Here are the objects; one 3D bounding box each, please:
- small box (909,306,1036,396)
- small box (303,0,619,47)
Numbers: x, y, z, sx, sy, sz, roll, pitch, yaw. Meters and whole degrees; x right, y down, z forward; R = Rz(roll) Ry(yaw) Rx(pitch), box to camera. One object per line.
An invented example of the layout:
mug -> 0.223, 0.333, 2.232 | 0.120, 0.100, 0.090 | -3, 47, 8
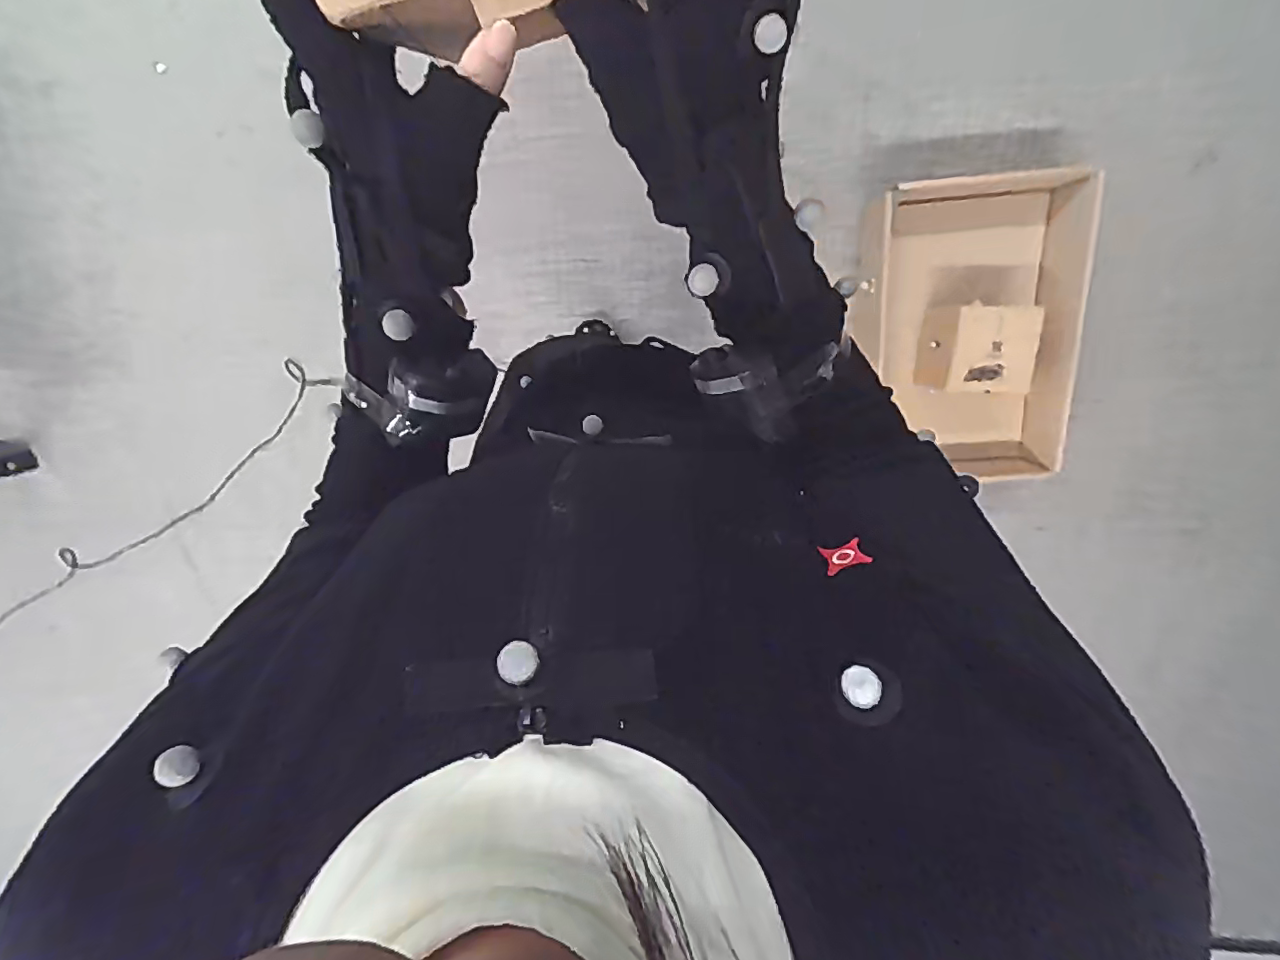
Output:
small box -> 0.722, -0.288, 1.198 | 0.168, 0.176, 0.179 | 3, 105, 2
small box -> -0.076, -0.322, 0.238 | 0.168, 0.176, 0.179 | -10, 120, 11
